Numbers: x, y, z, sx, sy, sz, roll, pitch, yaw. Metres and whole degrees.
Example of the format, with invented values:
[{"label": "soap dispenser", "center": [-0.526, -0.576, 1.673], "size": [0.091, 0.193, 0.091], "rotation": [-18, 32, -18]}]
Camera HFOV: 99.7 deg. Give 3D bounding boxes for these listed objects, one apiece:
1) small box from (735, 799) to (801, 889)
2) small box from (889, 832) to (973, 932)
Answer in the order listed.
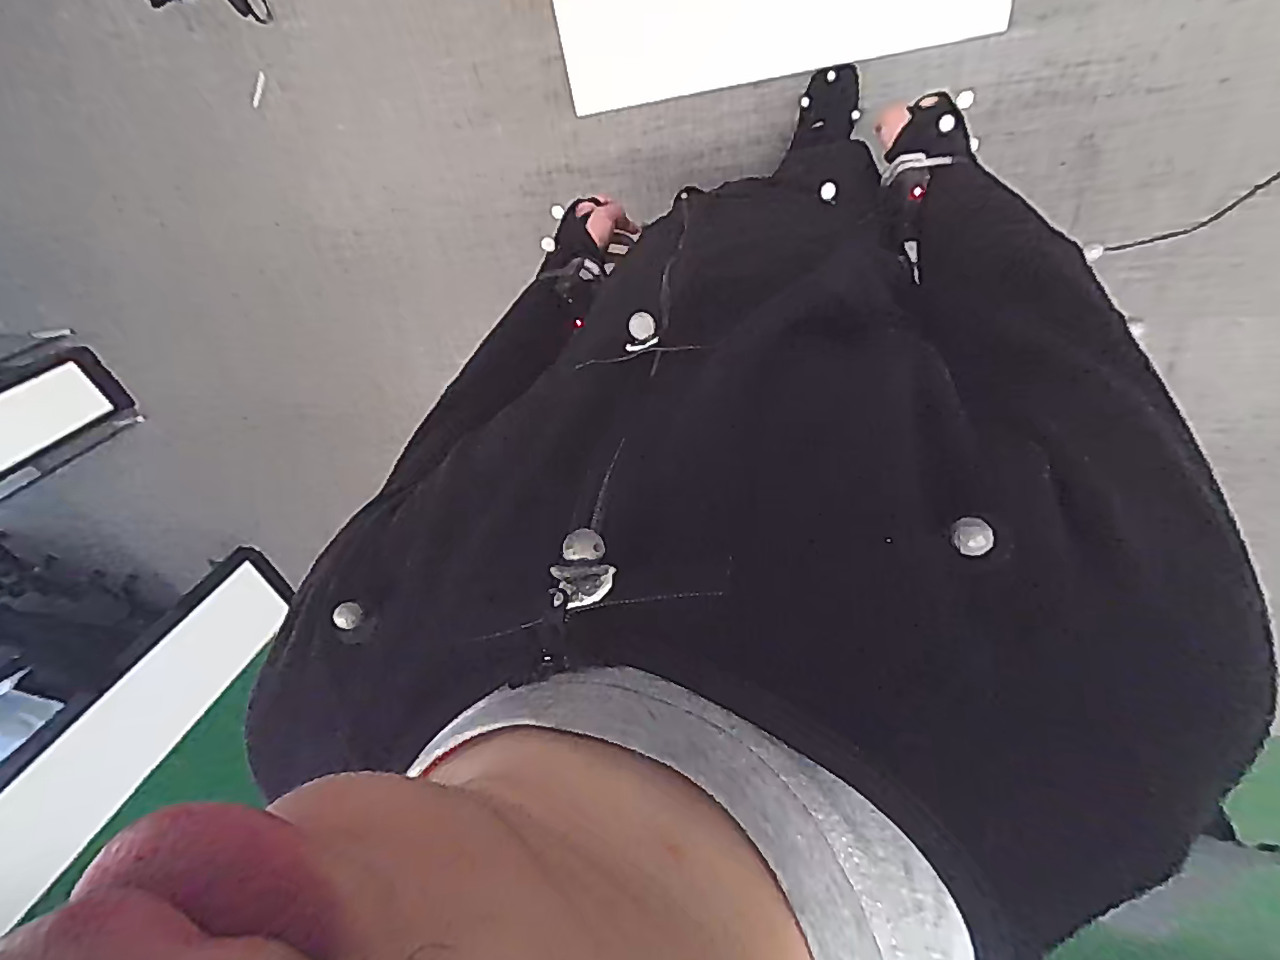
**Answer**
[{"label": "small box", "center": [0.388, 1.097, 1.638], "size": [0.179, 0.176, 0.168], "rotation": [6, 130, 13]}, {"label": "small box", "center": [0.806, 1.120, 1.515], "size": [0.179, 0.176, 0.168], "rotation": [2, 128, 19]}]
